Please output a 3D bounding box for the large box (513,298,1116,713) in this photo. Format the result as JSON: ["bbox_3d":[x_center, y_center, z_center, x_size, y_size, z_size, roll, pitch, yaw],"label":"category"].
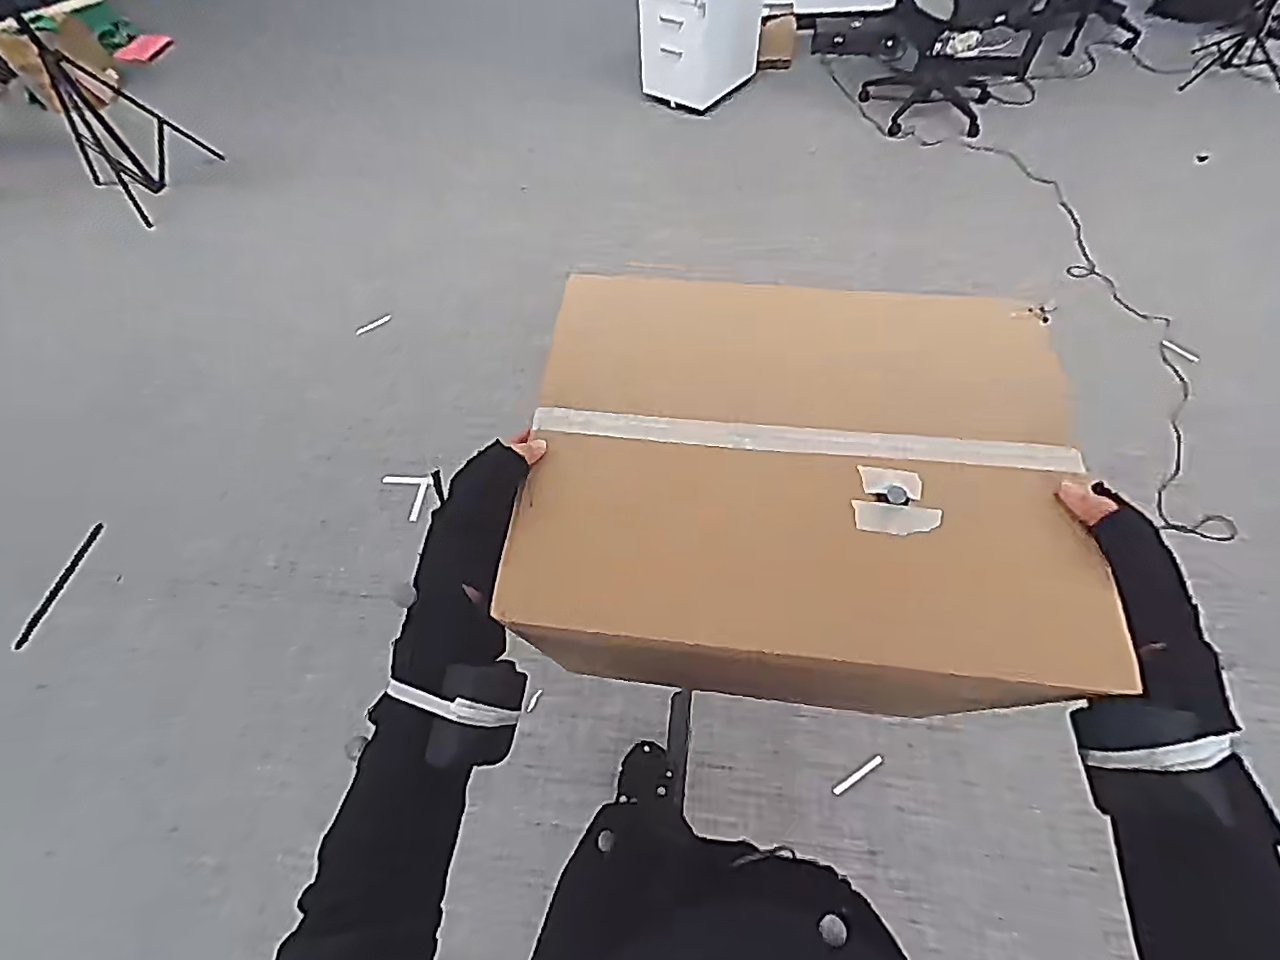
[{"bbox_3d":[0.126,0.046,0.554,0.408,0.320,0.320,5,65,5],"label":"large box"}]
